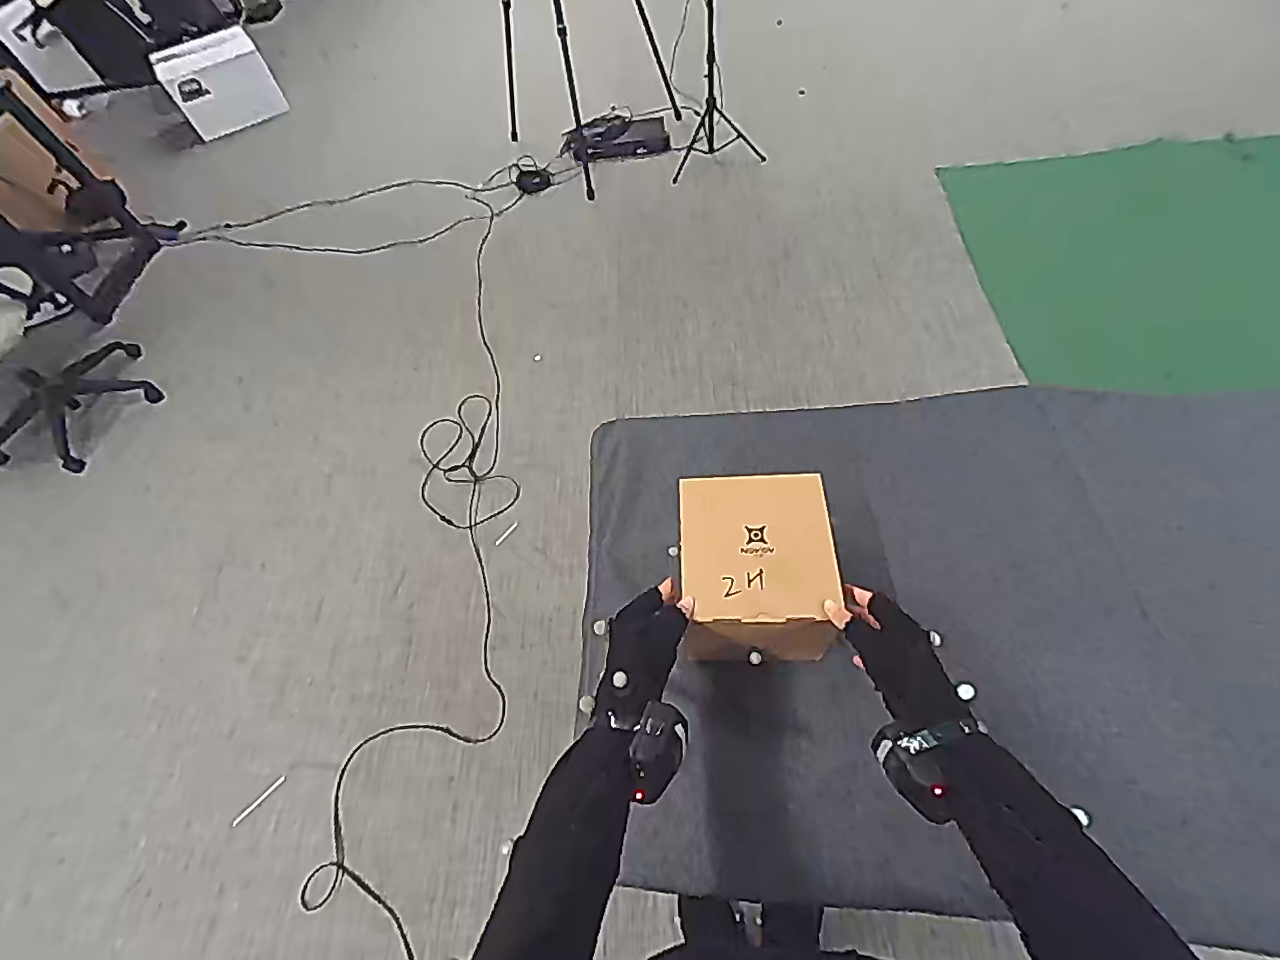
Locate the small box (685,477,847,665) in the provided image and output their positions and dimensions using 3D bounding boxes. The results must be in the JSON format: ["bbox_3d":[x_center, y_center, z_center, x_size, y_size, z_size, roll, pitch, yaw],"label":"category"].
[{"bbox_3d":[0.139,0.115,0.660,0.168,0.176,0.179,-3,58,7],"label":"small box"}]
